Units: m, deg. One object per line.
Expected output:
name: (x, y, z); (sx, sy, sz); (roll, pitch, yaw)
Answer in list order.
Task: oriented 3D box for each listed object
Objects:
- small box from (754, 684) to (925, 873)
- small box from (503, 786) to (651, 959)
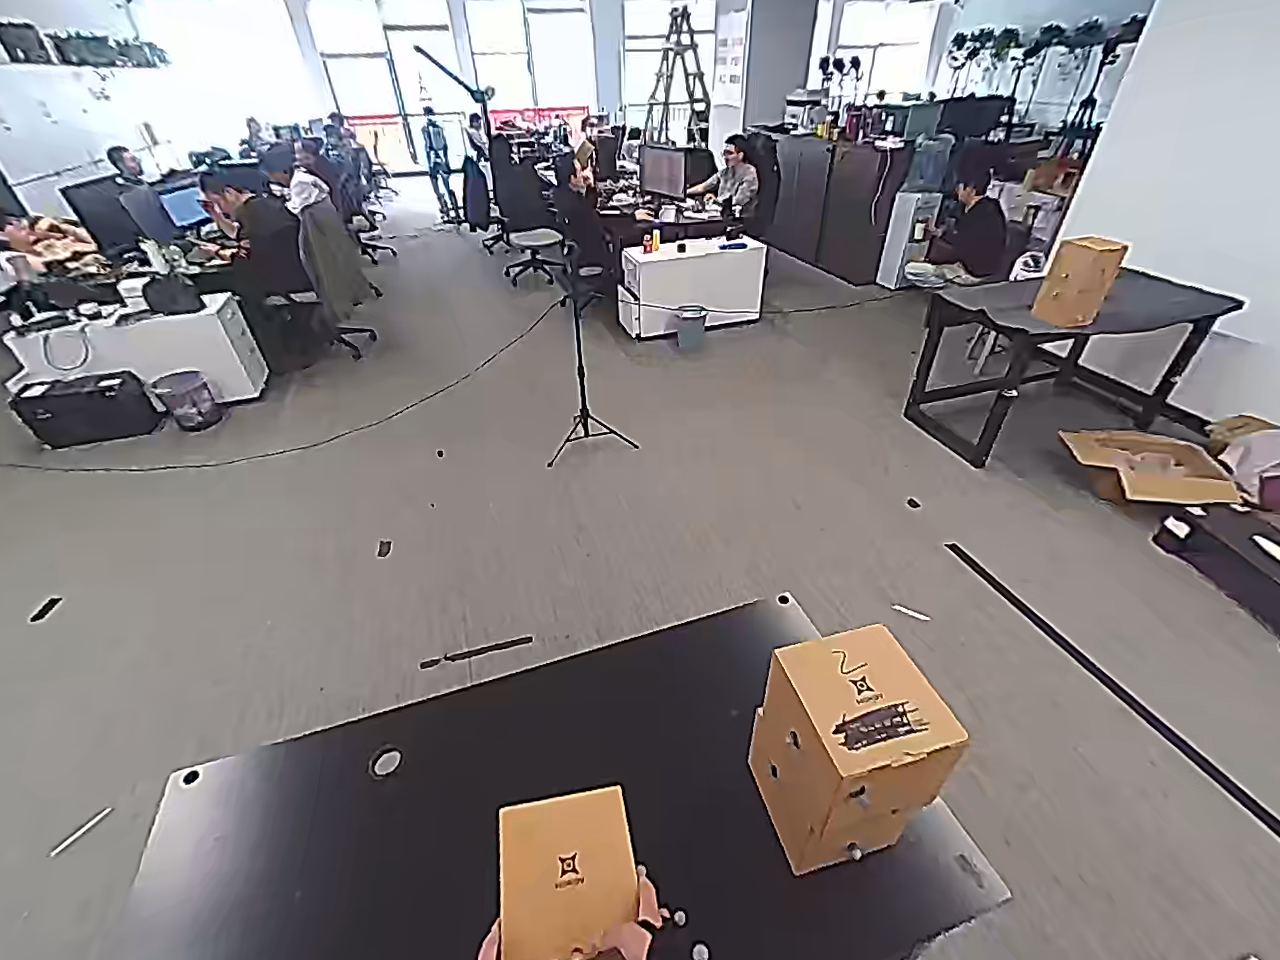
small box: (0.283, 0.446, 0.815); (0.168, 0.176, 0.179); (-10, 38, -9)
small box: (-0.091, 0.536, 0.700); (0.168, 0.176, 0.179); (-3, 36, -13)
